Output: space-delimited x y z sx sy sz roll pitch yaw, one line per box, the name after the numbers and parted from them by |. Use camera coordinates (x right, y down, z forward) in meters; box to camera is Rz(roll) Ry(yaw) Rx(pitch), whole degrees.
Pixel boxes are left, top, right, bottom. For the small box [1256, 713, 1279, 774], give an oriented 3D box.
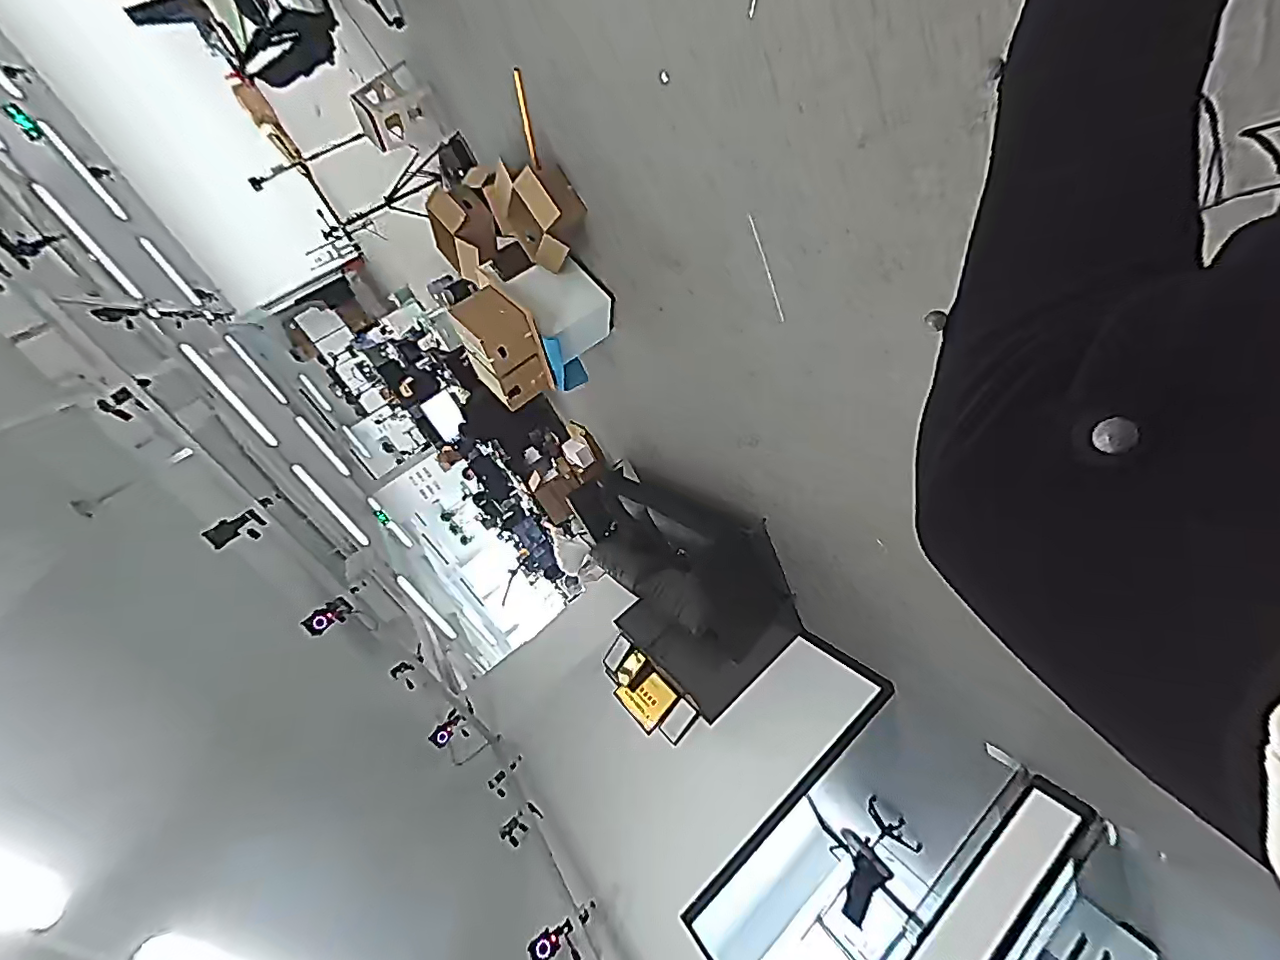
1.724 0.671 1.363 0.168 0.176 0.179 28 151 54 | small box
